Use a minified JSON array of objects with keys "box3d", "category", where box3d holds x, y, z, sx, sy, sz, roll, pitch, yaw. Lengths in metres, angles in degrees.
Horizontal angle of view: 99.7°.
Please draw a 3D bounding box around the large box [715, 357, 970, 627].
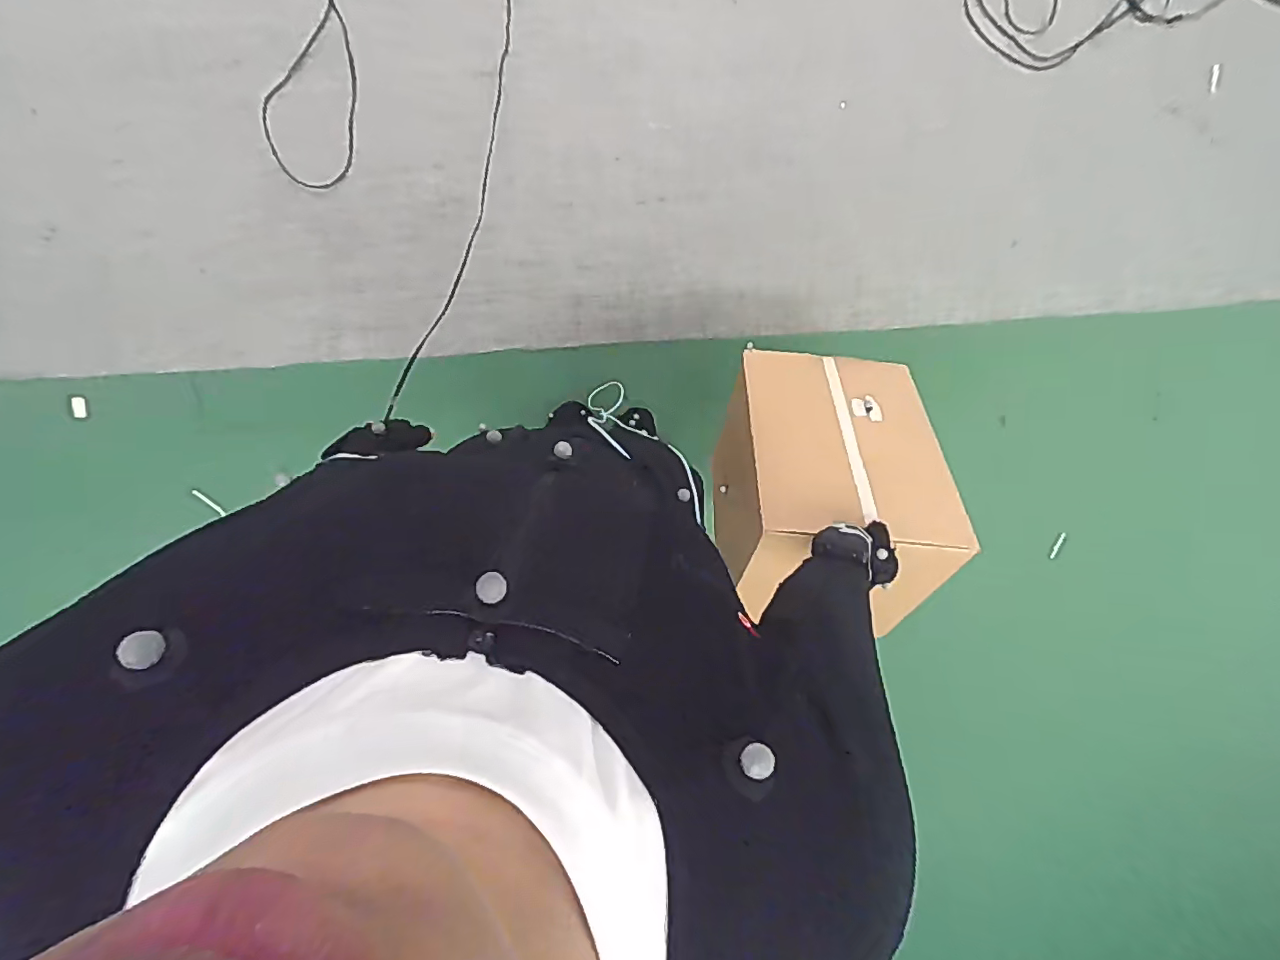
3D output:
[{"box3d":[0.325,0.025,1.015,0.320,0.408,0.320,5,141,-3],"category":"large box"}]
